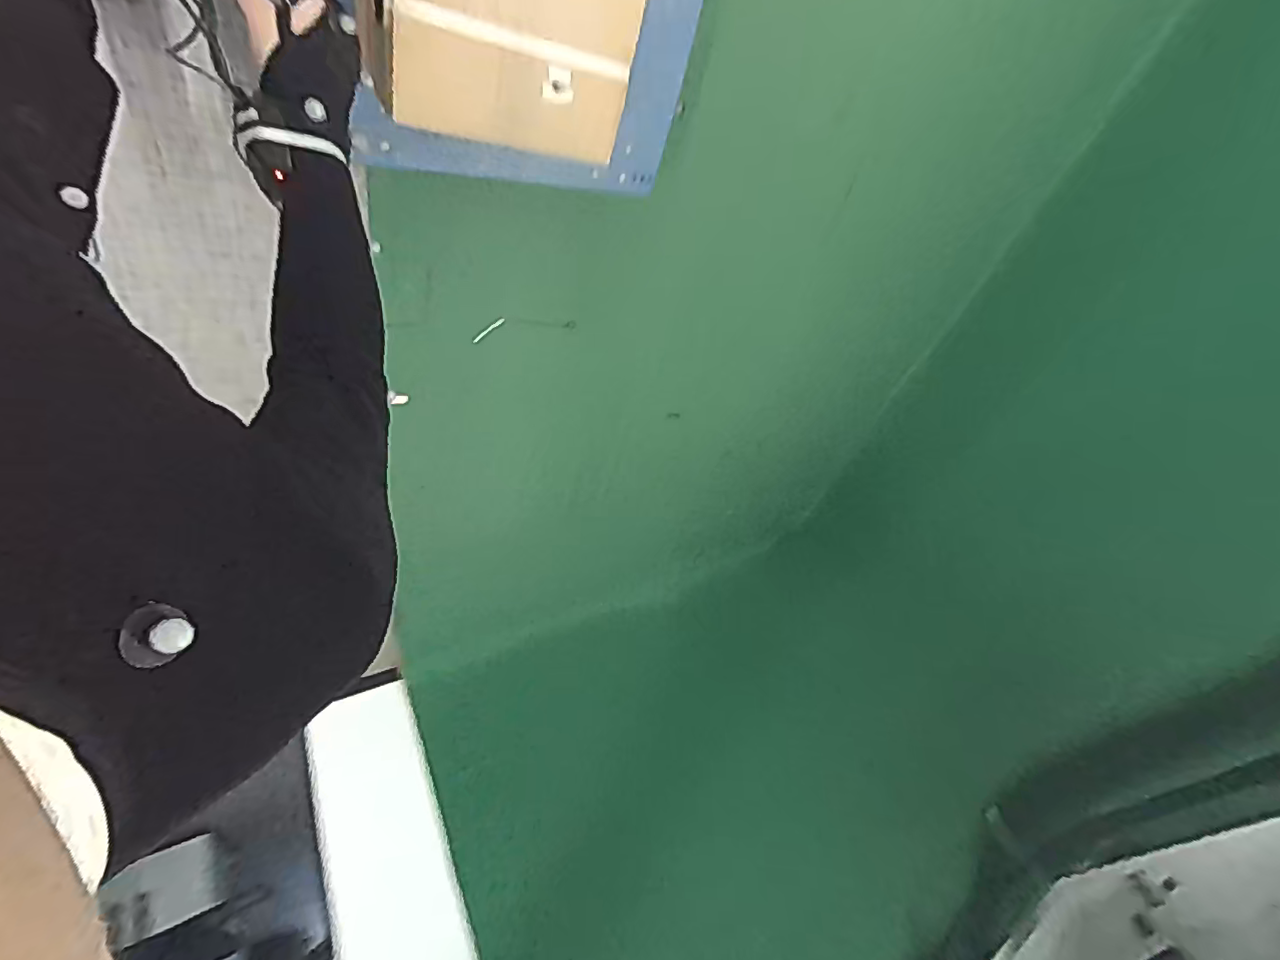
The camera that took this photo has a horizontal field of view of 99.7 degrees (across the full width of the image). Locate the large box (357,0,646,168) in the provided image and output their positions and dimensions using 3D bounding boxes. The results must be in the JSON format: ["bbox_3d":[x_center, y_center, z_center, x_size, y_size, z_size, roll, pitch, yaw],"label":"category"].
[{"bbox_3d":[-0.258,-0.801,0.957,0.408,0.320,0.320,-10,140,-34],"label":"large box"}]
